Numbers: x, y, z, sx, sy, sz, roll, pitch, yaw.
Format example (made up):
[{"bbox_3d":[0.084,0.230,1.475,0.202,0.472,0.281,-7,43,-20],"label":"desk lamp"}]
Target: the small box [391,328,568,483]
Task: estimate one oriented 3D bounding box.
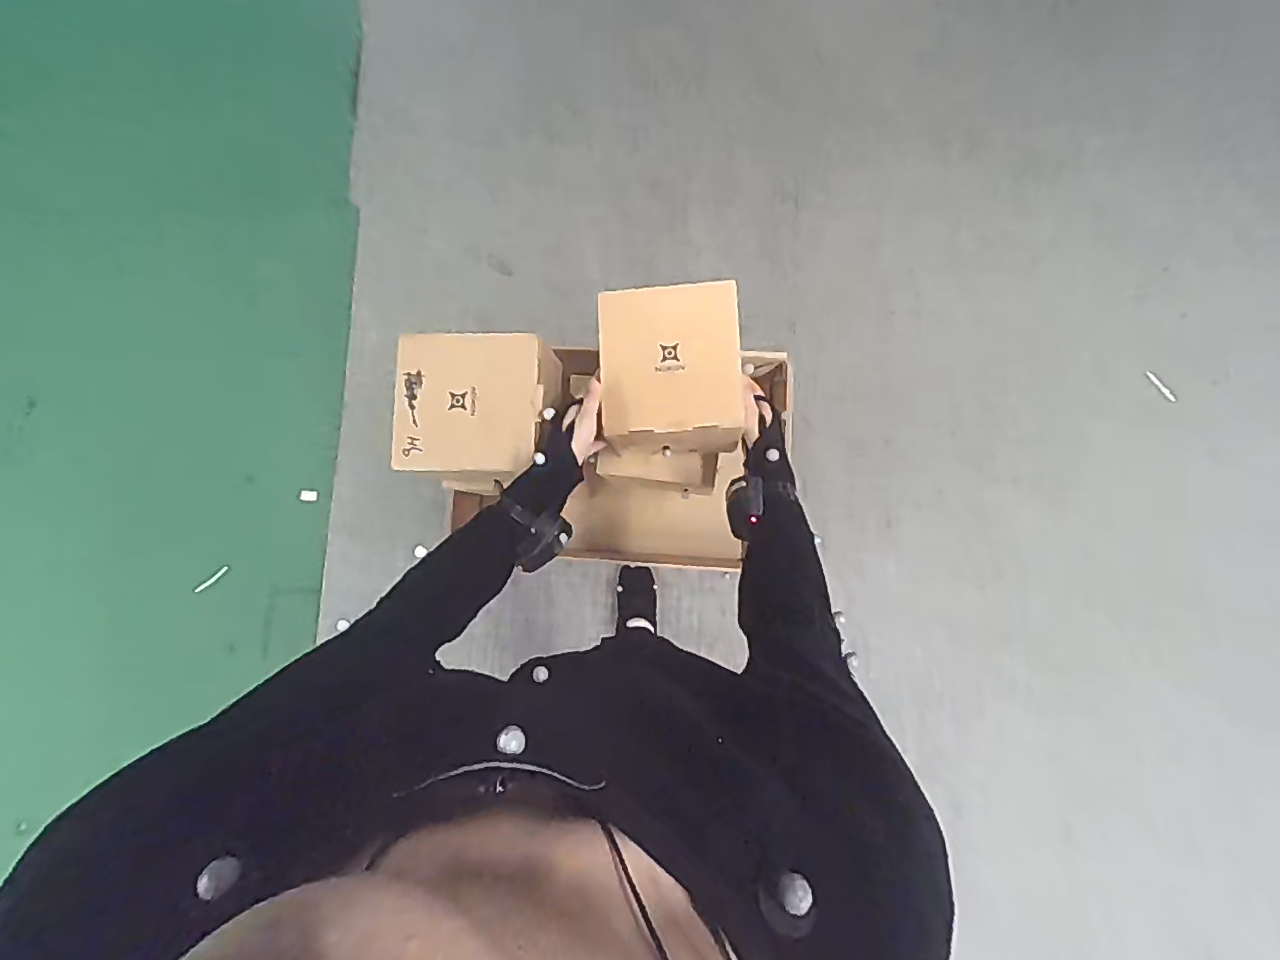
[{"bbox_3d":[-0.194,-0.087,0.703,0.179,0.176,0.168,1,84,4],"label":"small box"}]
